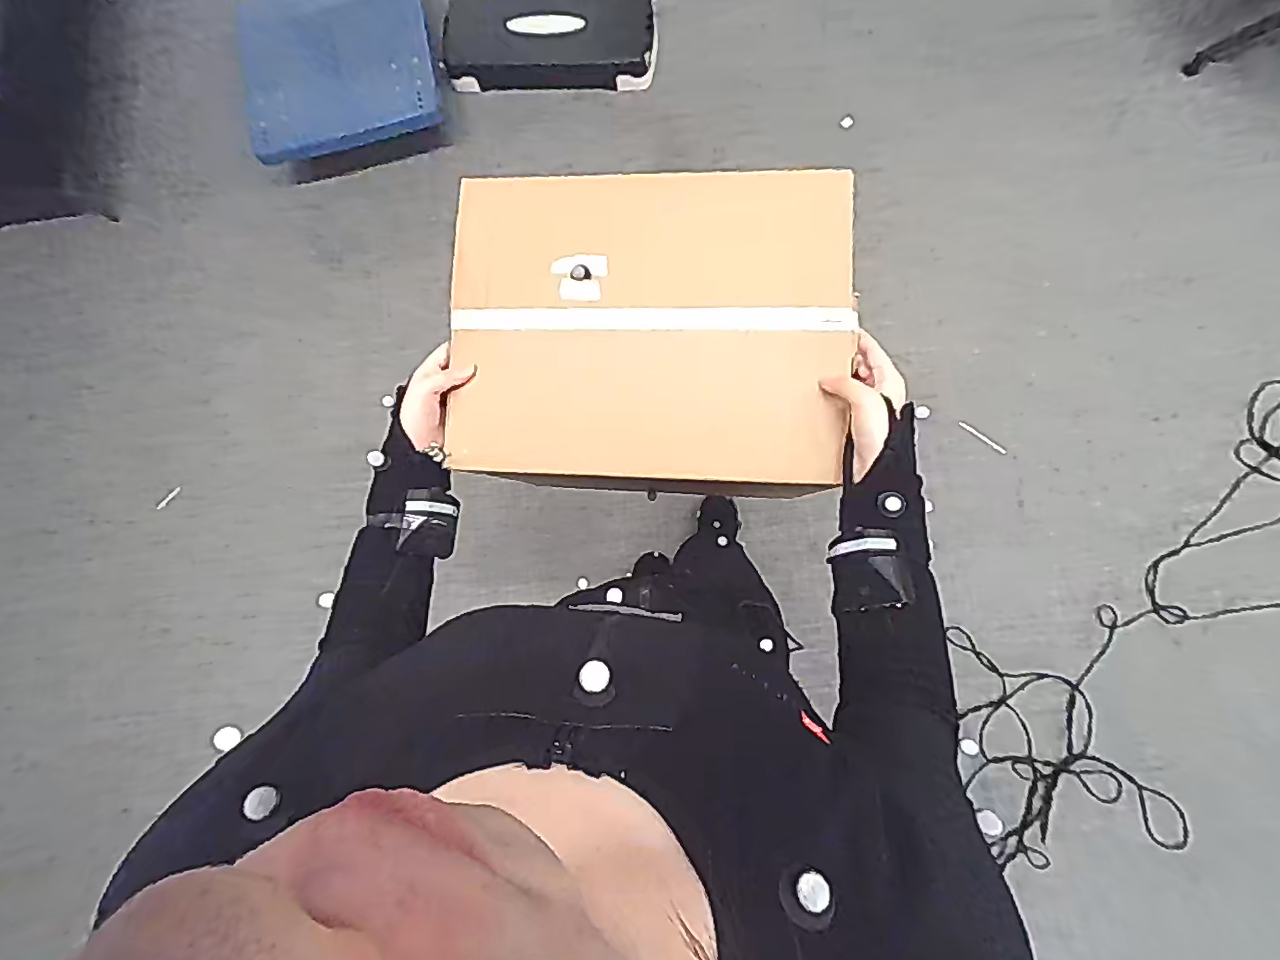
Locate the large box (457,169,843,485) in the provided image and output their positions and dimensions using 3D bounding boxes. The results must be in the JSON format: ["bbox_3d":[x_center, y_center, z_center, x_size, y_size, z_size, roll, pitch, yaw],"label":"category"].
[{"bbox_3d":[0.026,-0.153,0.706,0.408,0.320,0.320,2,86,8],"label":"large box"}]
